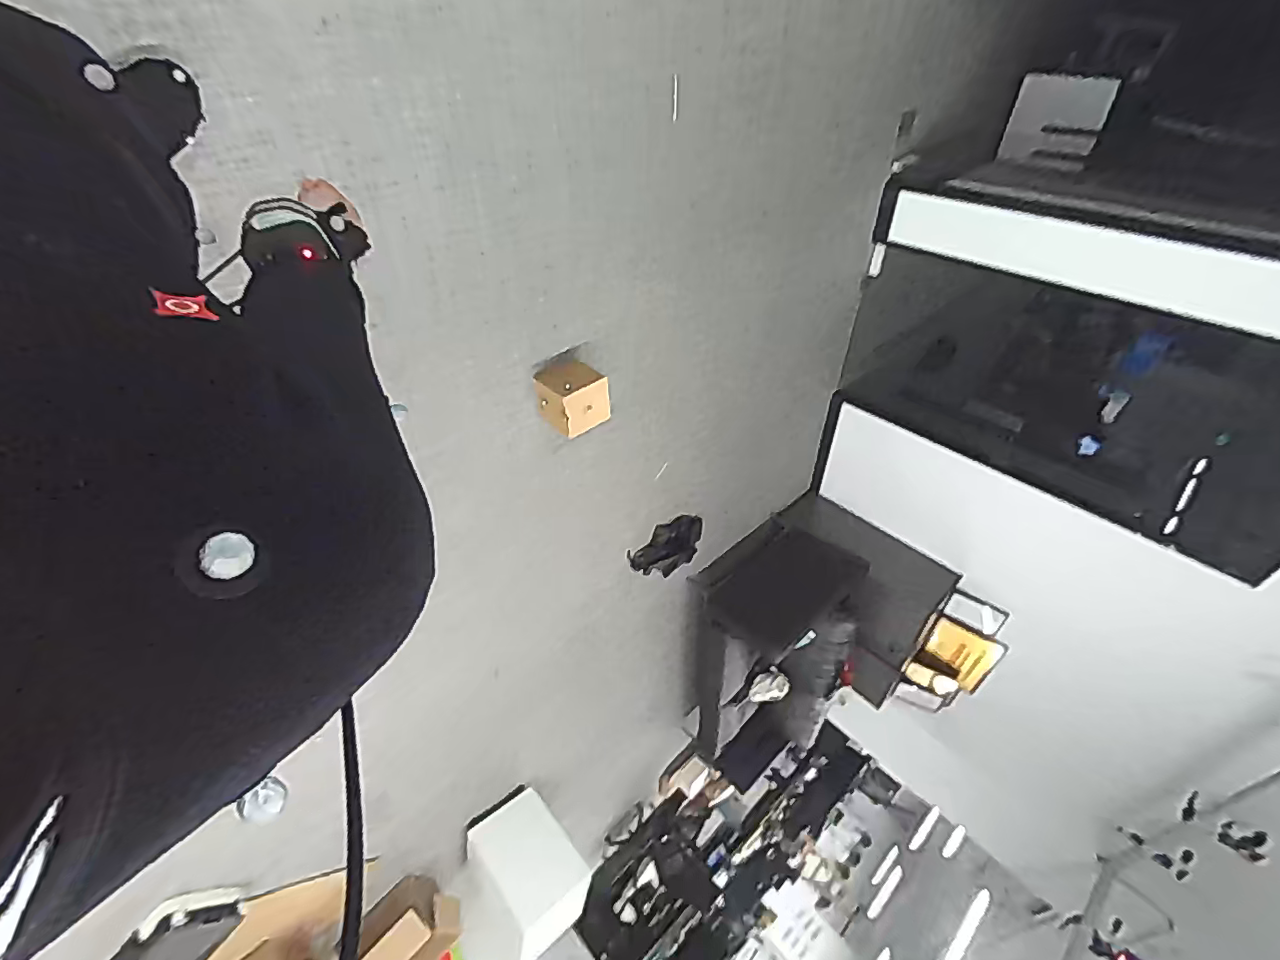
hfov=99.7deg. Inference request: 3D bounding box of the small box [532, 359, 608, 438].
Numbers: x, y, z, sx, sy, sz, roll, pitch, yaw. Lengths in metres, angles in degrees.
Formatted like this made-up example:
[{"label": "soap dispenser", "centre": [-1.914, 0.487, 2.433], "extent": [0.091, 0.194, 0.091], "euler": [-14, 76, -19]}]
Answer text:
[{"label": "small box", "centre": [-0.226, -0.272, 1.769], "extent": [0.179, 0.176, 0.168], "euler": [-33, 141, -28]}]
